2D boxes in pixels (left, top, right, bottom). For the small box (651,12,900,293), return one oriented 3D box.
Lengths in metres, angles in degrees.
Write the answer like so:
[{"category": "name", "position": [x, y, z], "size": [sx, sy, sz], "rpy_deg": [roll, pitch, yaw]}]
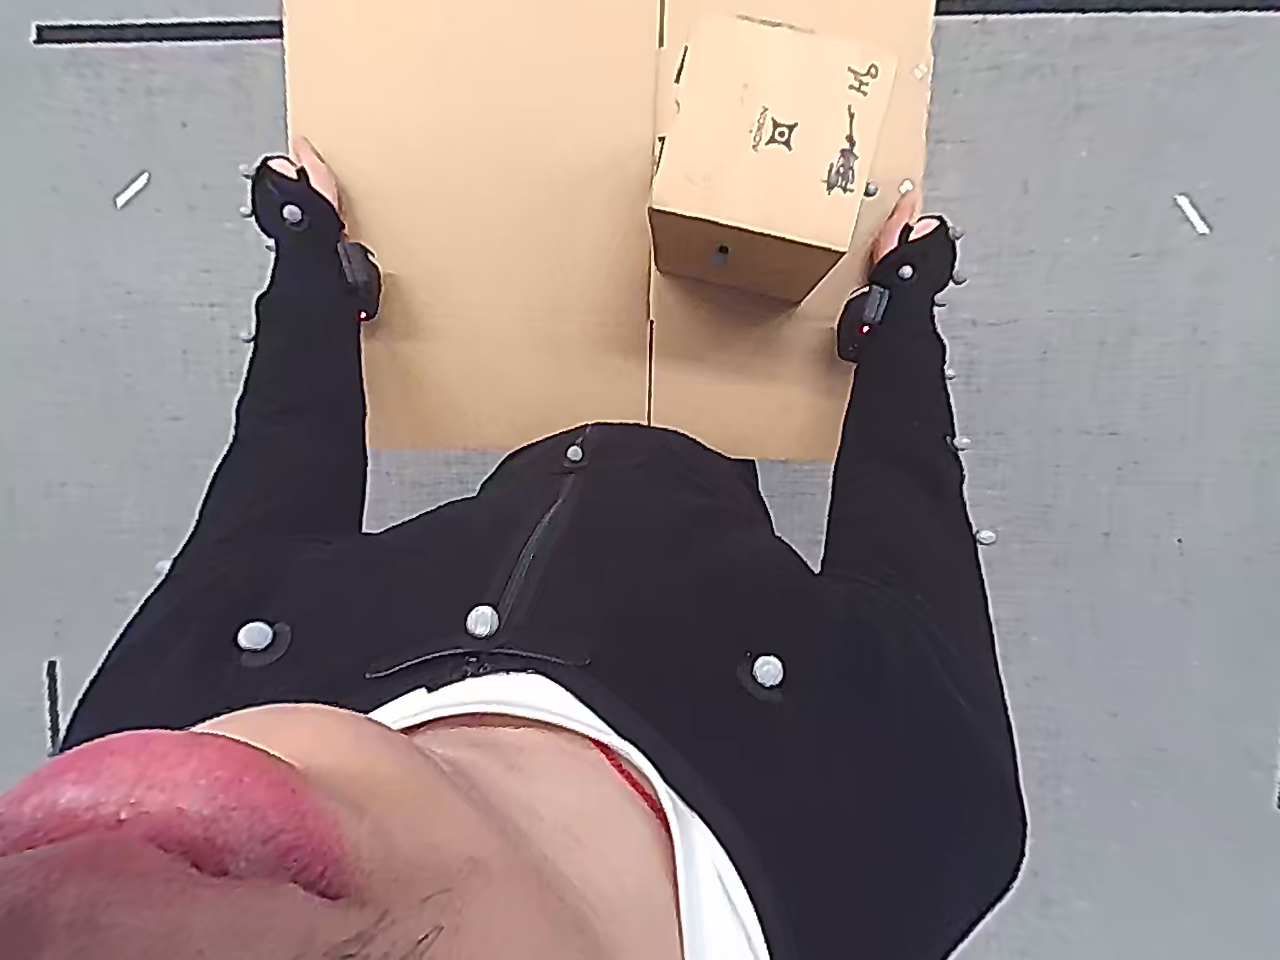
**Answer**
[{"category": "small box", "position": [0.119, -0.301, 0.536], "size": [0.179, 0.176, 0.168], "rpy_deg": [14, 96, 4]}]
